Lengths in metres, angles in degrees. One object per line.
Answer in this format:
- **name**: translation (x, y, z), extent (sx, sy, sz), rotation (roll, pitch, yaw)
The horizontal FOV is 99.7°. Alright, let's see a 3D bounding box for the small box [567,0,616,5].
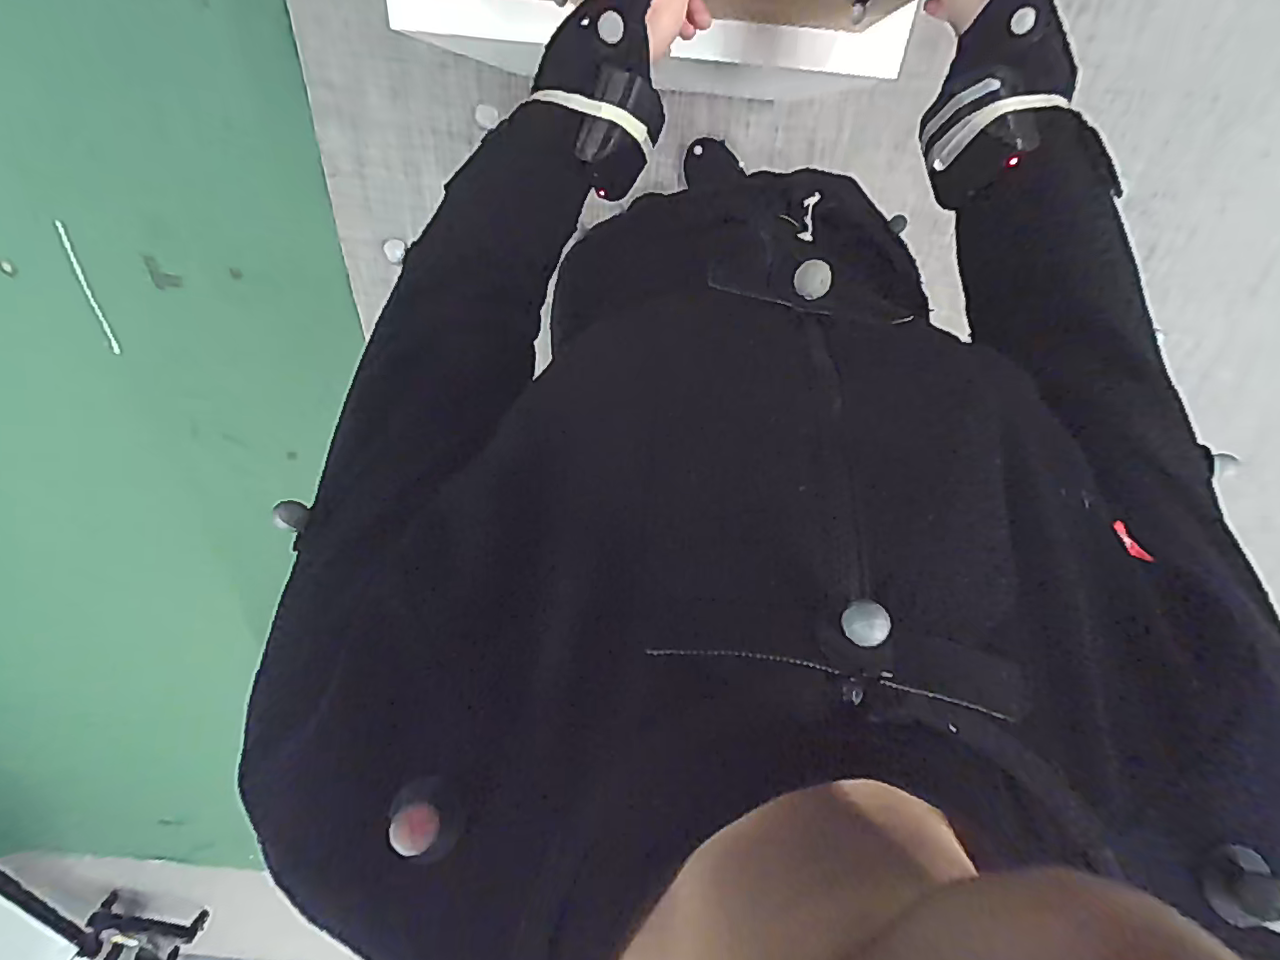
- **small box**: translation (-0.092, -0.488, 0.401), extent (0.168, 0.176, 0.179), rotation (5, 121, -2)
